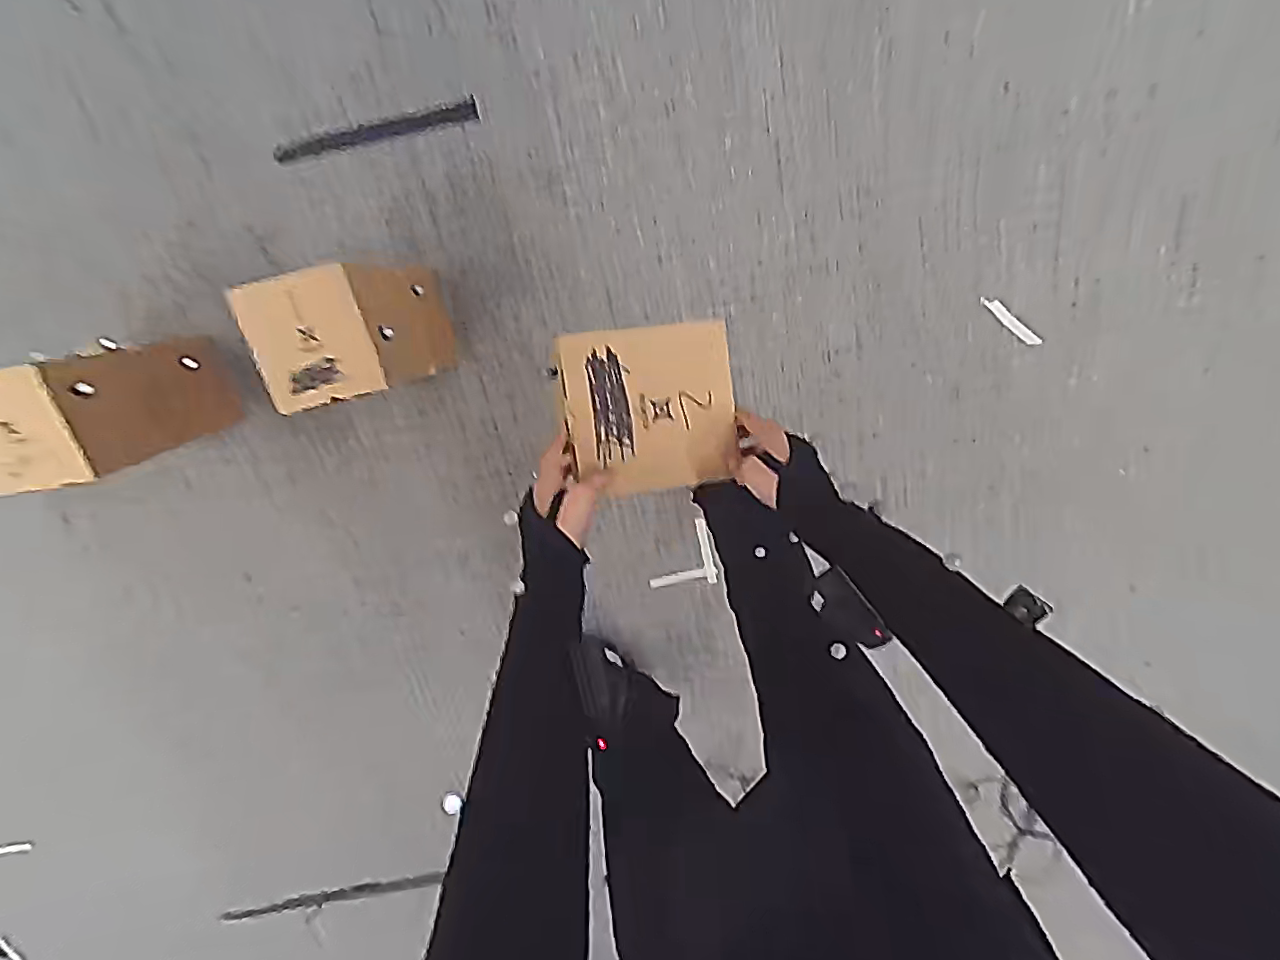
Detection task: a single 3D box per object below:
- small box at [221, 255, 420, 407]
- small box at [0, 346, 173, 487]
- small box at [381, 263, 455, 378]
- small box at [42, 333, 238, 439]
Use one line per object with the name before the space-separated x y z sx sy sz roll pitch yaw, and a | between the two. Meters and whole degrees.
small box | -0.460 -0.227 0.814 0.168 0.176 0.179 -13 109 2
small box | -0.897 -0.107 0.838 0.168 0.176 0.179 -9 111 2
small box | -0.454 -0.281 0.970 0.168 0.176 0.179 -13 110 2
small box | -0.897 -0.170 0.990 0.168 0.176 0.179 -8 110 1
